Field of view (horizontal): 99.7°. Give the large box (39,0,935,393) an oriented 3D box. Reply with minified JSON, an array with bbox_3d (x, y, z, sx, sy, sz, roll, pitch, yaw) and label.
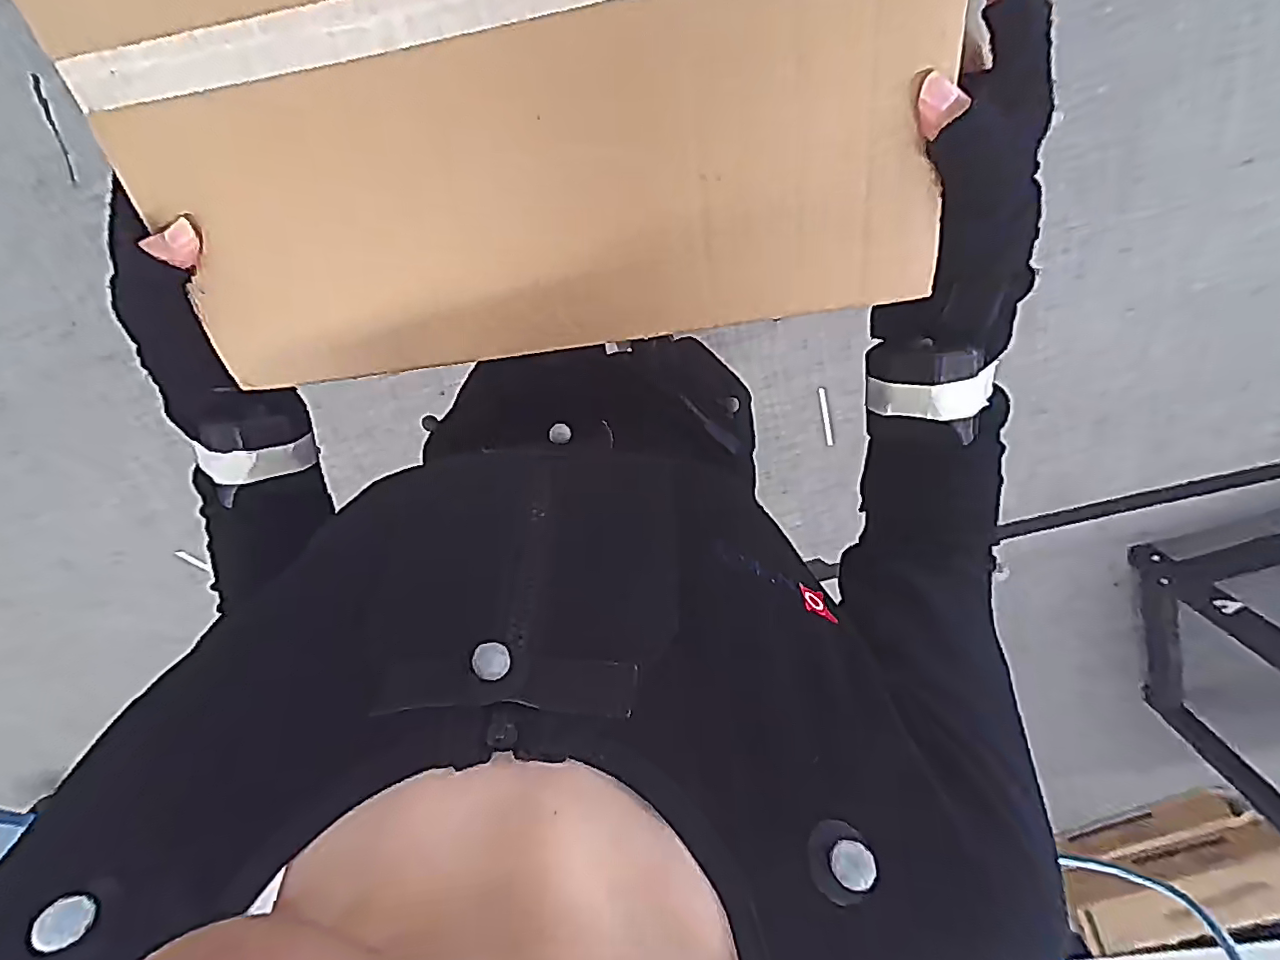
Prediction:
[{"bbox_3d":[-0.063,-0.286,0.370,0.408,0.320,0.320,-6,120,7],"label":"large box"}]
